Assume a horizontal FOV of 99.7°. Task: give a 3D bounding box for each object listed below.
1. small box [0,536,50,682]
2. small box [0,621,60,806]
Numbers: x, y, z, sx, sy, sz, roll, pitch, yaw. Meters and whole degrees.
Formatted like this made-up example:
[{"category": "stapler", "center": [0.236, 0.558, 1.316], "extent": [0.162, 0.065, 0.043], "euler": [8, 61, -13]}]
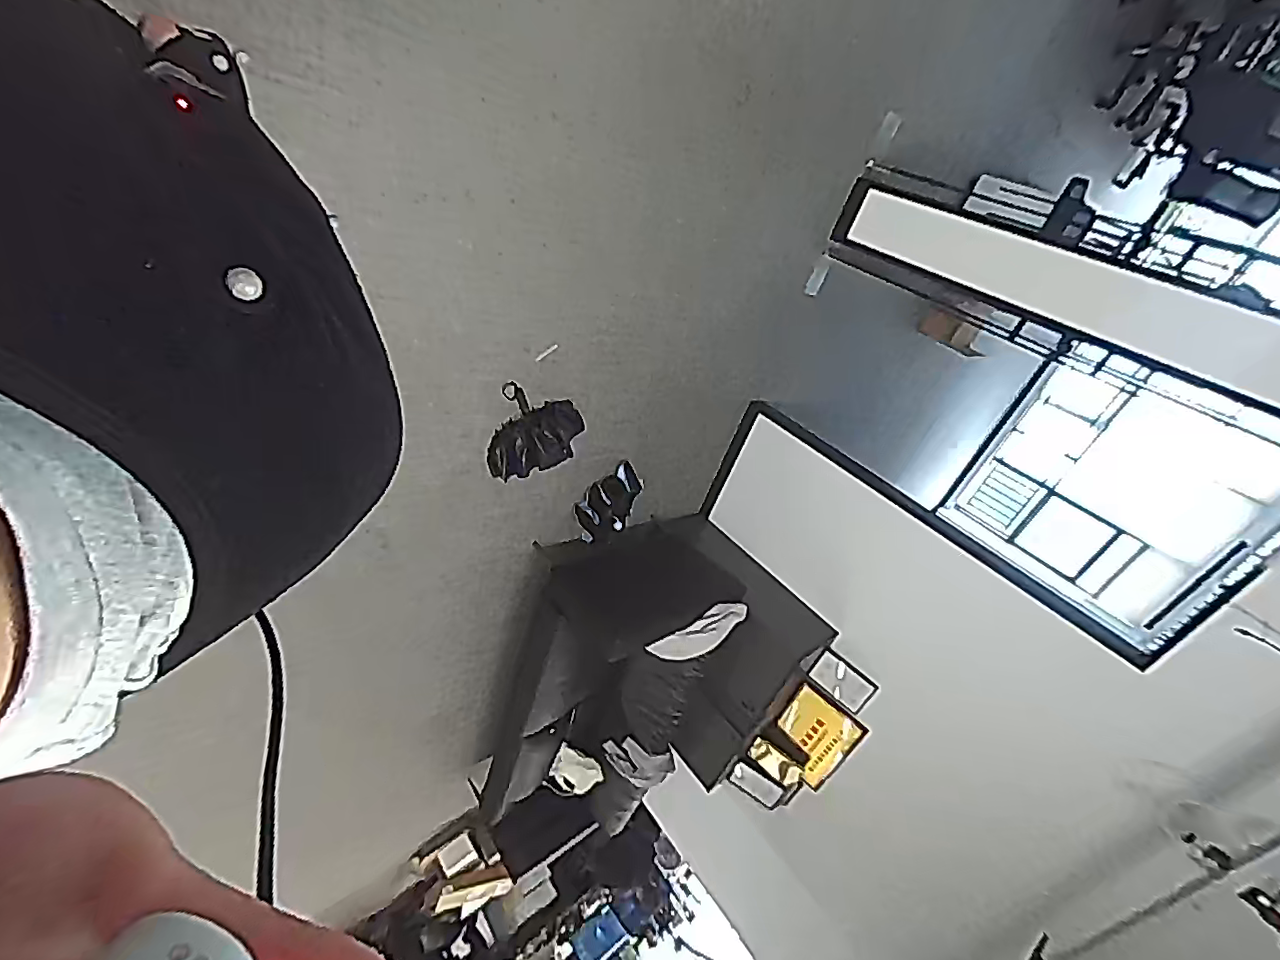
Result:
[{"category": "small box", "center": [-0.930, 0.194, 0.713], "extent": [0.168, 0.176, 0.179], "euler": [-20, 139, -39]}, {"category": "small box", "center": [-0.826, 0.288, 0.627], "extent": [0.168, 0.176, 0.179], "euler": [-18, 139, -39]}]
